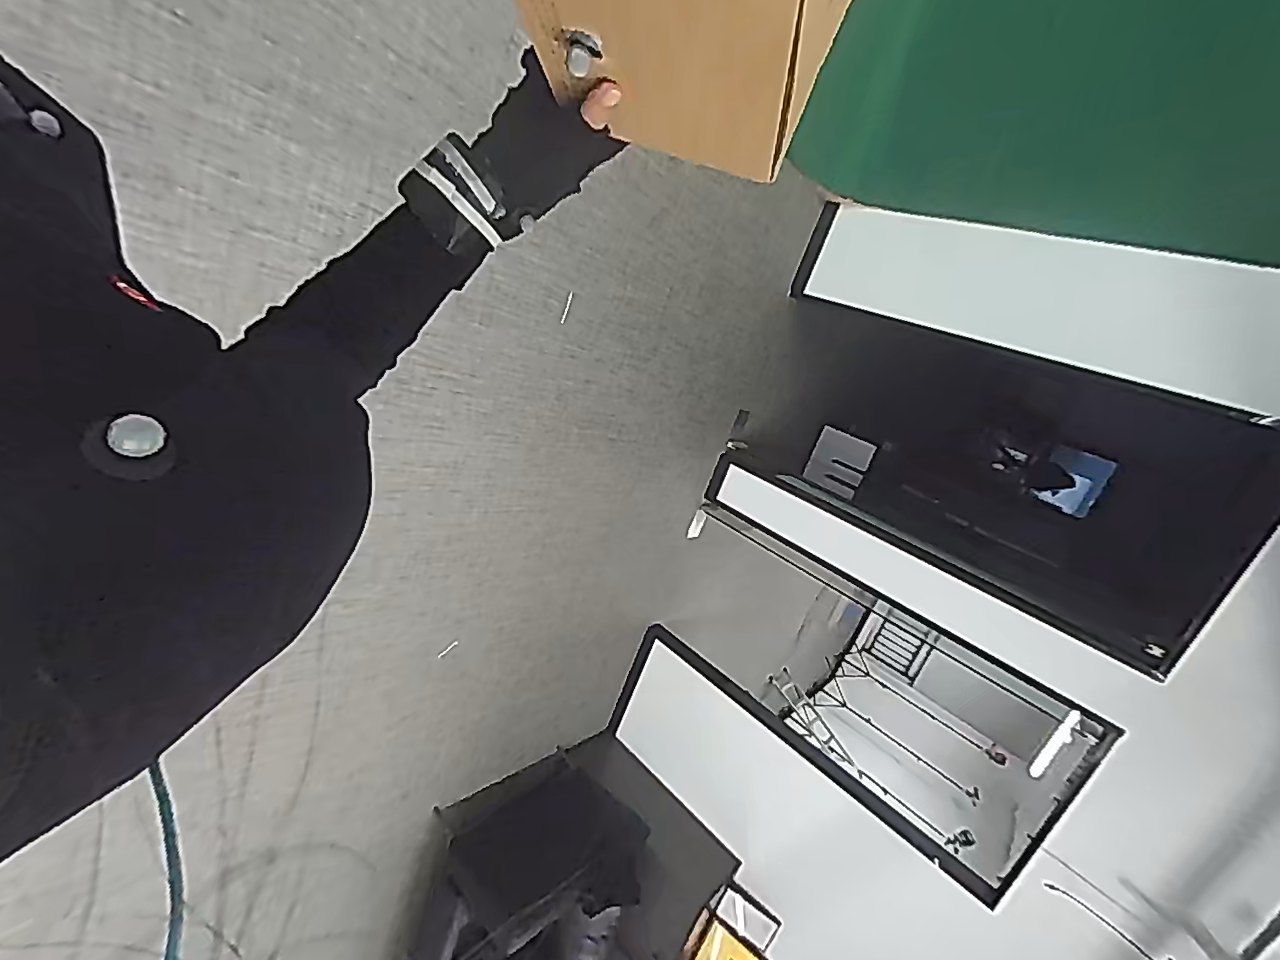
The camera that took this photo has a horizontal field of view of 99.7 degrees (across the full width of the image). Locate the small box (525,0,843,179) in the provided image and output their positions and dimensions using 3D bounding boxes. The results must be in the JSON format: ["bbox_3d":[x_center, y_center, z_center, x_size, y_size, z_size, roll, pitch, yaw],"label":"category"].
[{"bbox_3d":[0.036,-0.318,0.307,0.179,0.176,0.168,-4,115,-83],"label":"small box"}]
